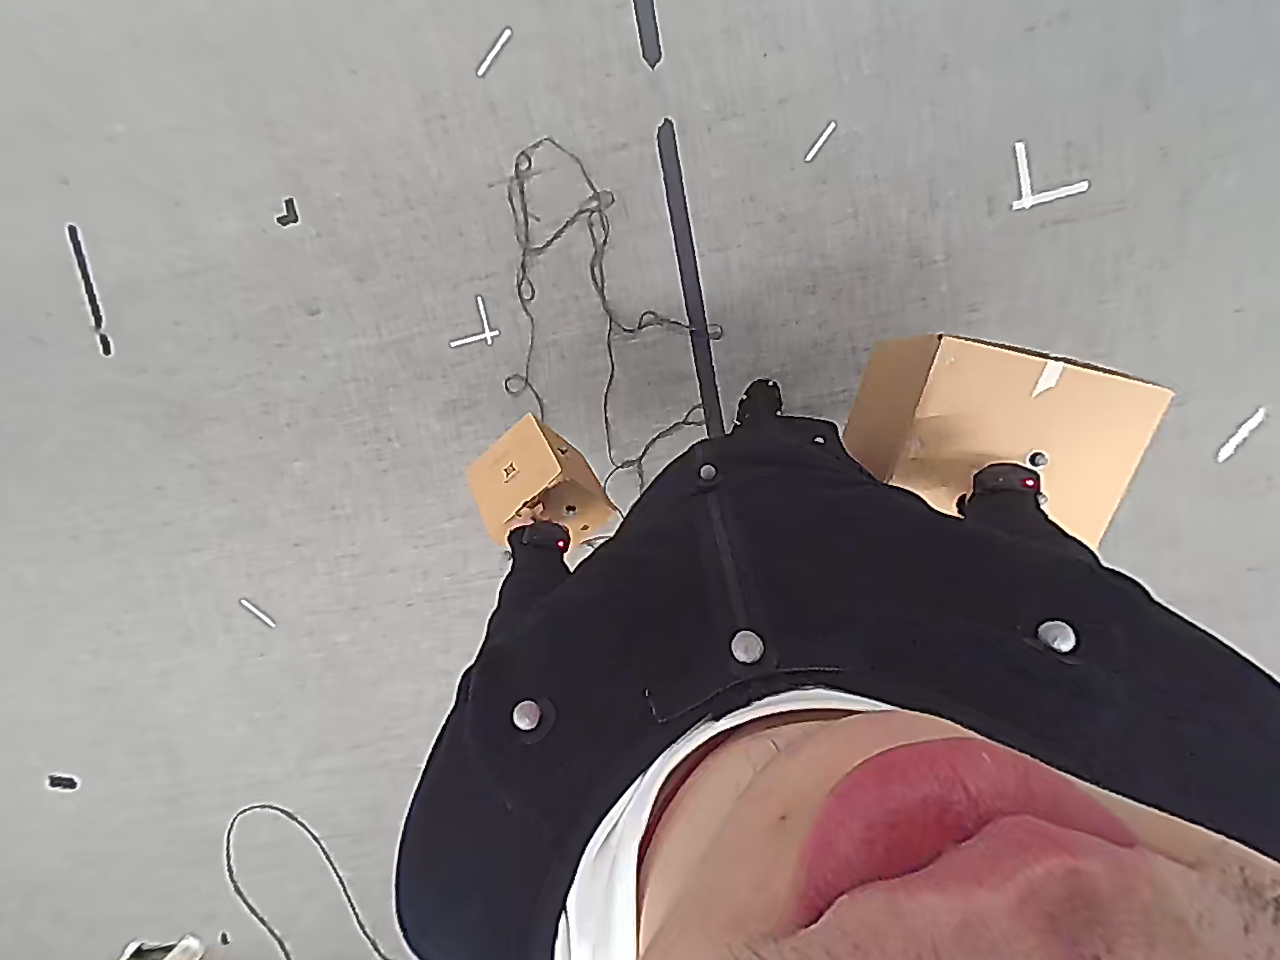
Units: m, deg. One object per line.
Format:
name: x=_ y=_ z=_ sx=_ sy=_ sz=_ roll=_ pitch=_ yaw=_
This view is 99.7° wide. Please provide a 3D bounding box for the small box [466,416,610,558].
small box: x=-0.181 y=0.023 z=0.983 sx=0.168 sy=0.176 sz=0.179 roll=-40 pitch=51 yaw=6
